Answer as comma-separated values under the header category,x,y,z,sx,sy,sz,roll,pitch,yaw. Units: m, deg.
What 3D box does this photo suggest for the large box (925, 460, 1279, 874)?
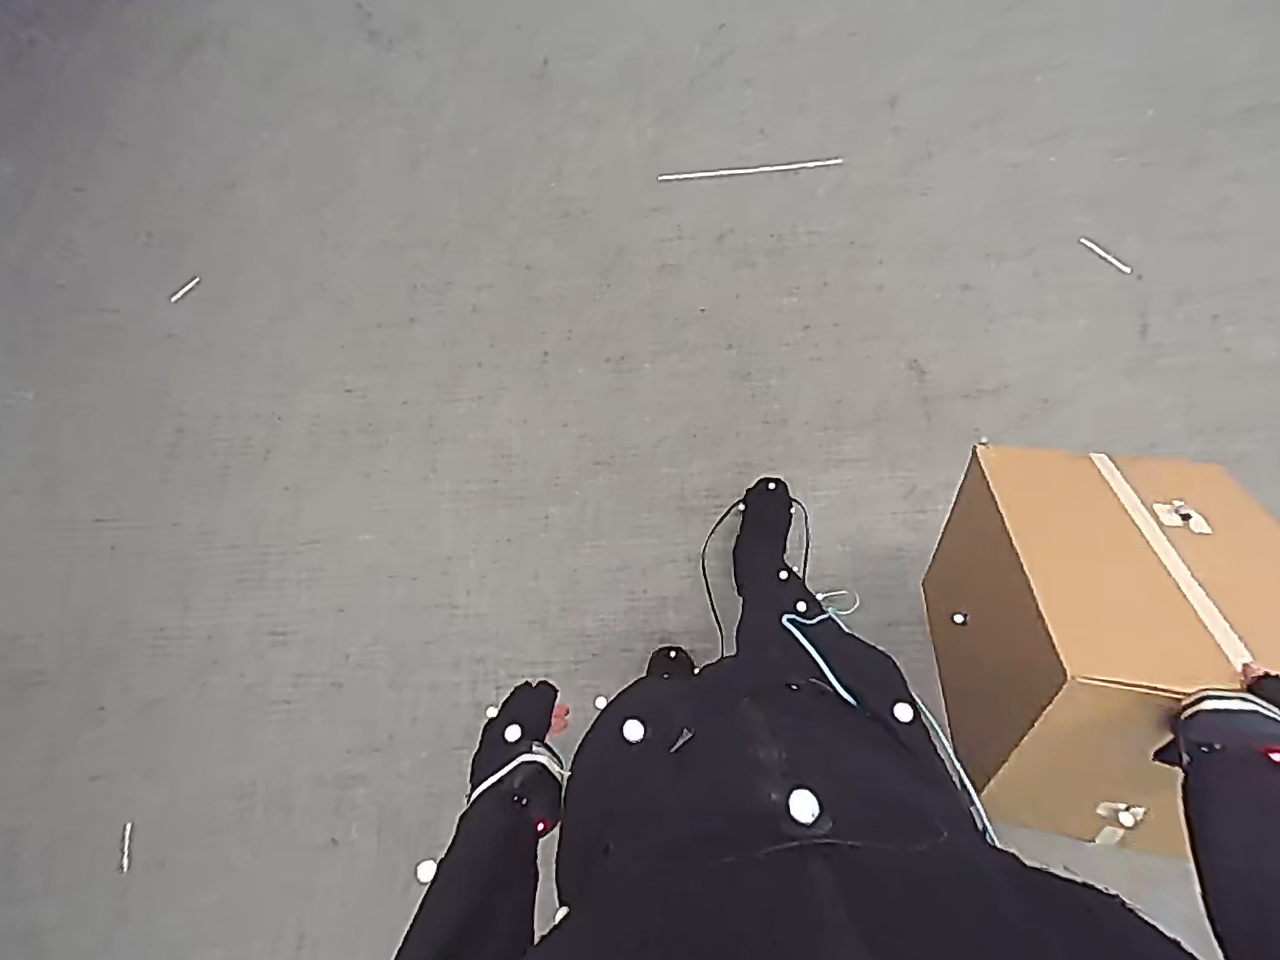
category,x,y,z,sx,sy,sz,roll,pitch,yaw
large box,0.614,0.218,0.726,0.320,0.408,0.320,6,128,13
